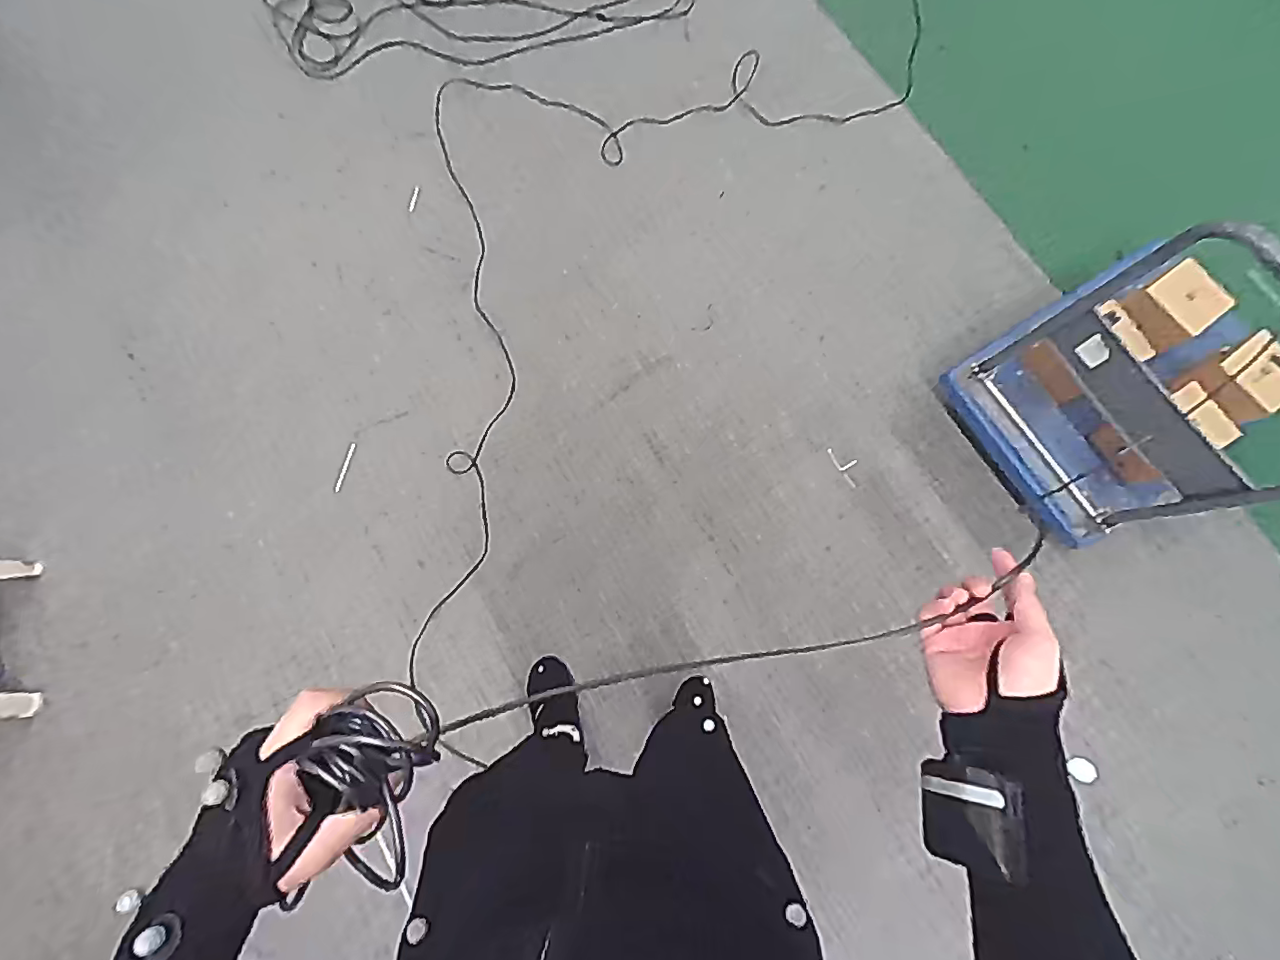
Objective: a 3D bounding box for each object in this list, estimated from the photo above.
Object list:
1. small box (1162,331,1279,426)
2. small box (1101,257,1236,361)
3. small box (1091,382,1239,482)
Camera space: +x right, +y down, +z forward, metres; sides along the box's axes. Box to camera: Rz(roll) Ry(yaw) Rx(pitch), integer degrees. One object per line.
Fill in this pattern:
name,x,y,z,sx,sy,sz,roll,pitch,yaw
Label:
small box,1.552,-0.250,1.418,0.179,0.176,0.168,-34,80,-9
small box,1.406,-0.451,1.457,0.179,0.176,0.168,-34,82,-10
small box,1.322,-0.116,1.375,0.179,0.176,0.168,-29,80,-8
